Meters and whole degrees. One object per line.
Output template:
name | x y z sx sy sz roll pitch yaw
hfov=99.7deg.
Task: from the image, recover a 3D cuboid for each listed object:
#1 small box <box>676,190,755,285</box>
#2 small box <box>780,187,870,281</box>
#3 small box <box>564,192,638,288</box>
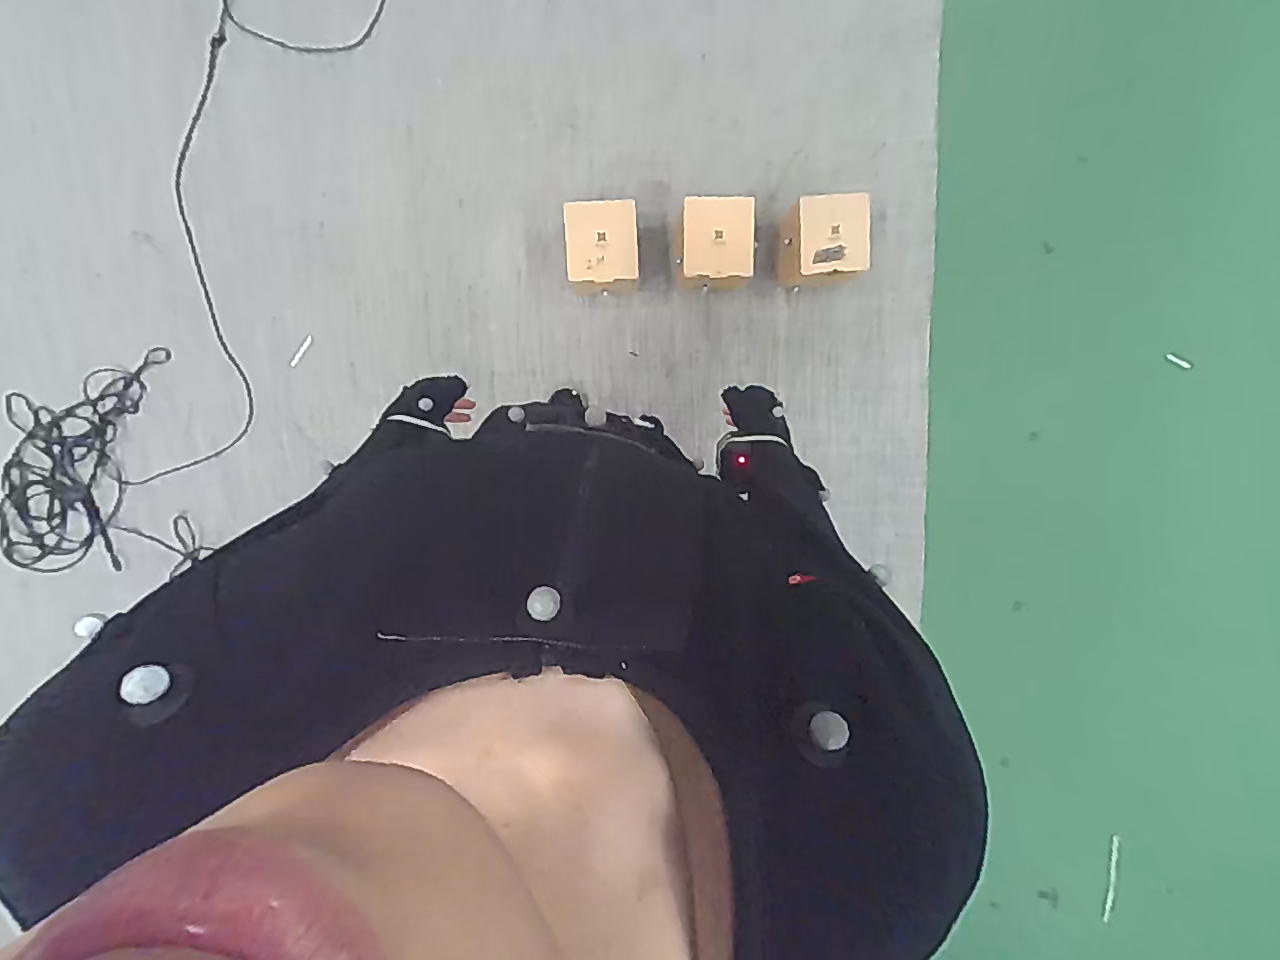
small box | 0.177 -0.583 1.315 0.168 0.176 0.179 -1 100 -2
small box | 0.446 -0.592 1.321 0.168 0.176 0.179 -4 99 -1
small box | -0.091 -0.572 1.305 0.168 0.176 0.179 -2 100 0
